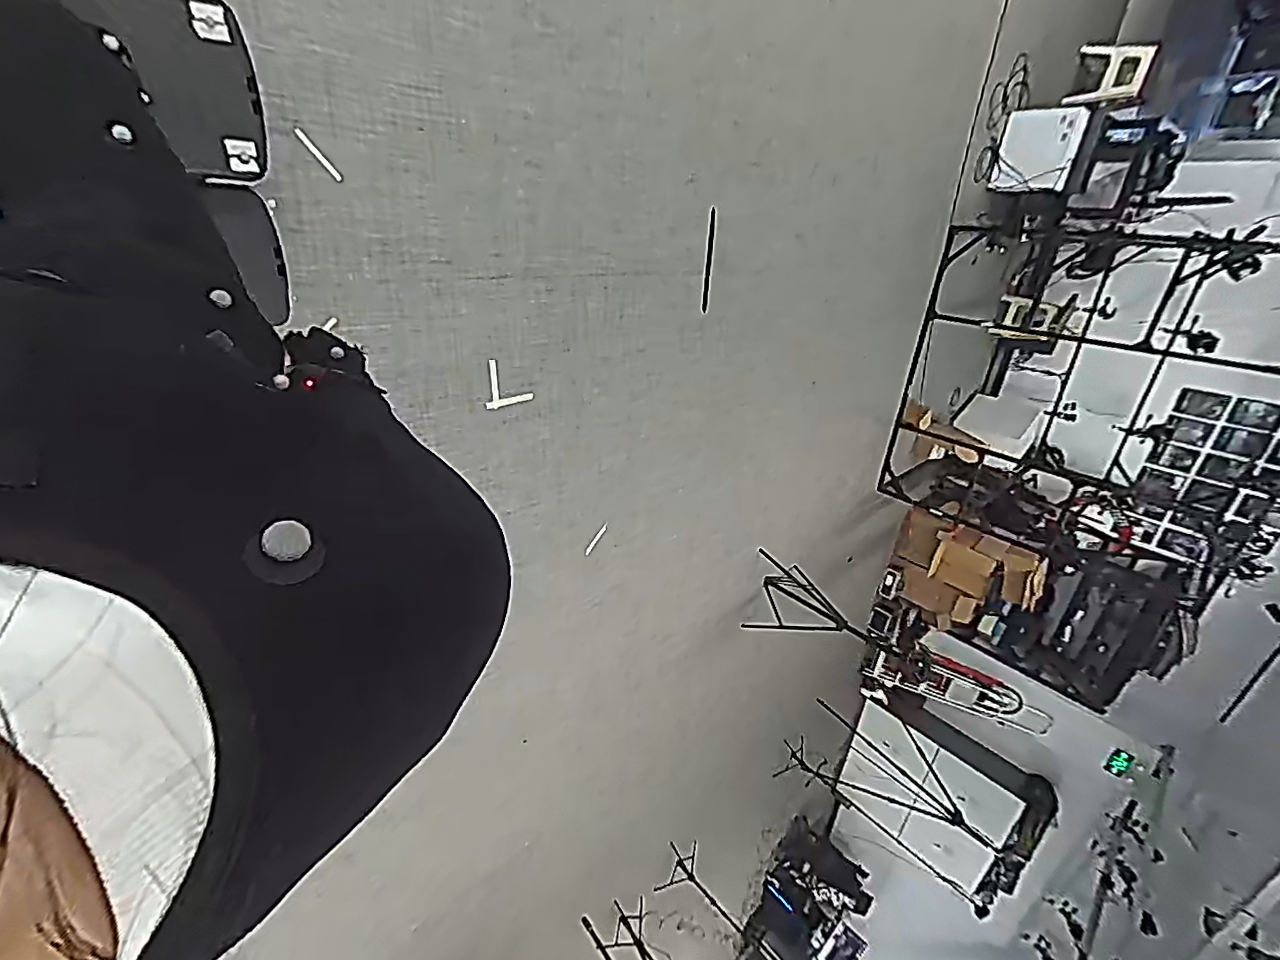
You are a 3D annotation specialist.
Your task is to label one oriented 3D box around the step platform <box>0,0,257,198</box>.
[{"bbox_3d":[-1.017,-0.615,0.840,0.684,0.204,0.286,-21,126,-39],"label":"step platform"}]
